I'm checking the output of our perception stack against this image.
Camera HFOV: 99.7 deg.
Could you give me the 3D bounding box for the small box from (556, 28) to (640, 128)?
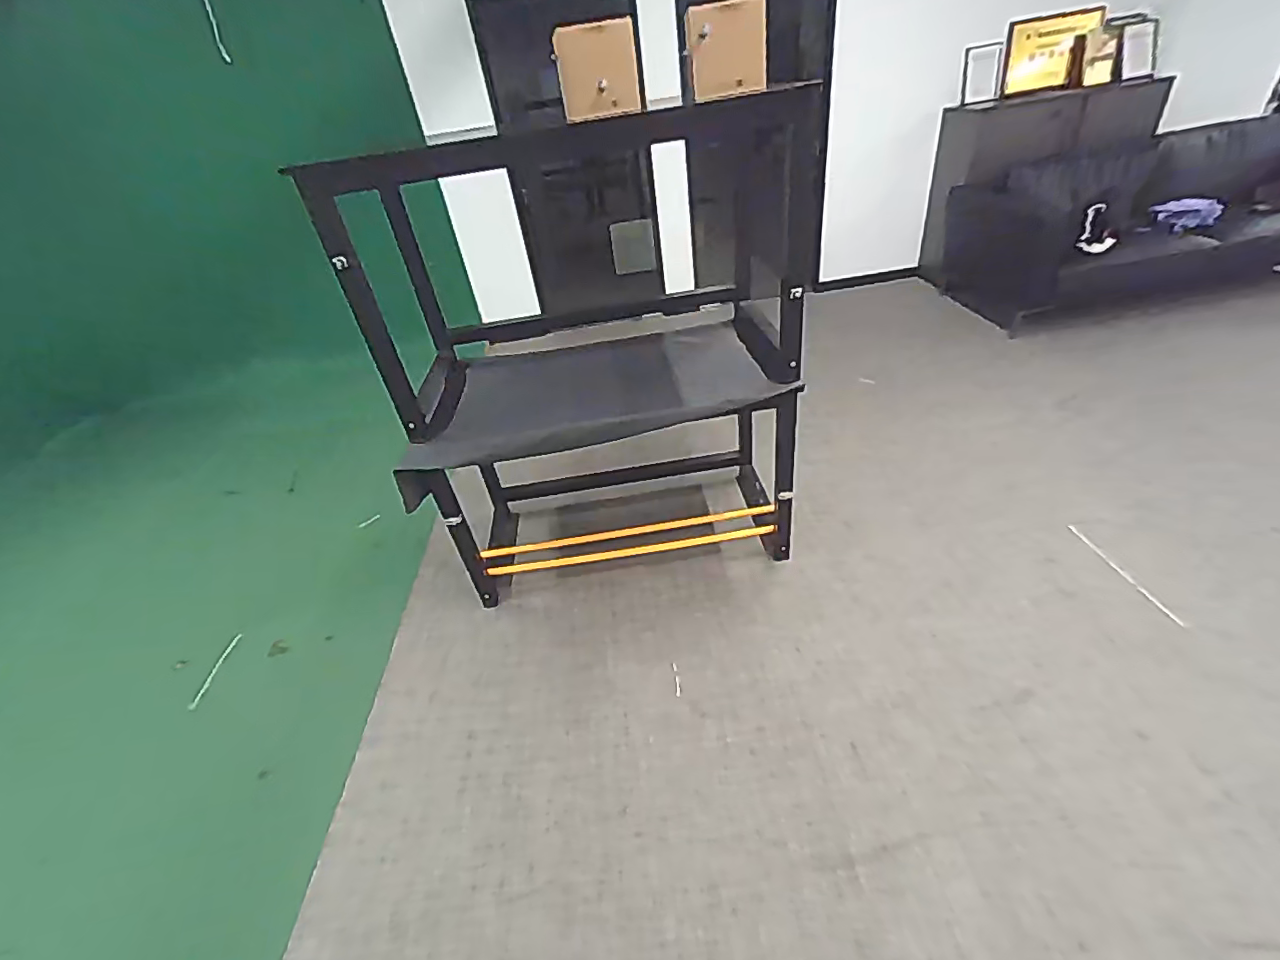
[{"bbox_3d":[-0.102,-0.950,1.290,0.168,0.176,0.179,-12,36,-4],"label":"small box"}]
